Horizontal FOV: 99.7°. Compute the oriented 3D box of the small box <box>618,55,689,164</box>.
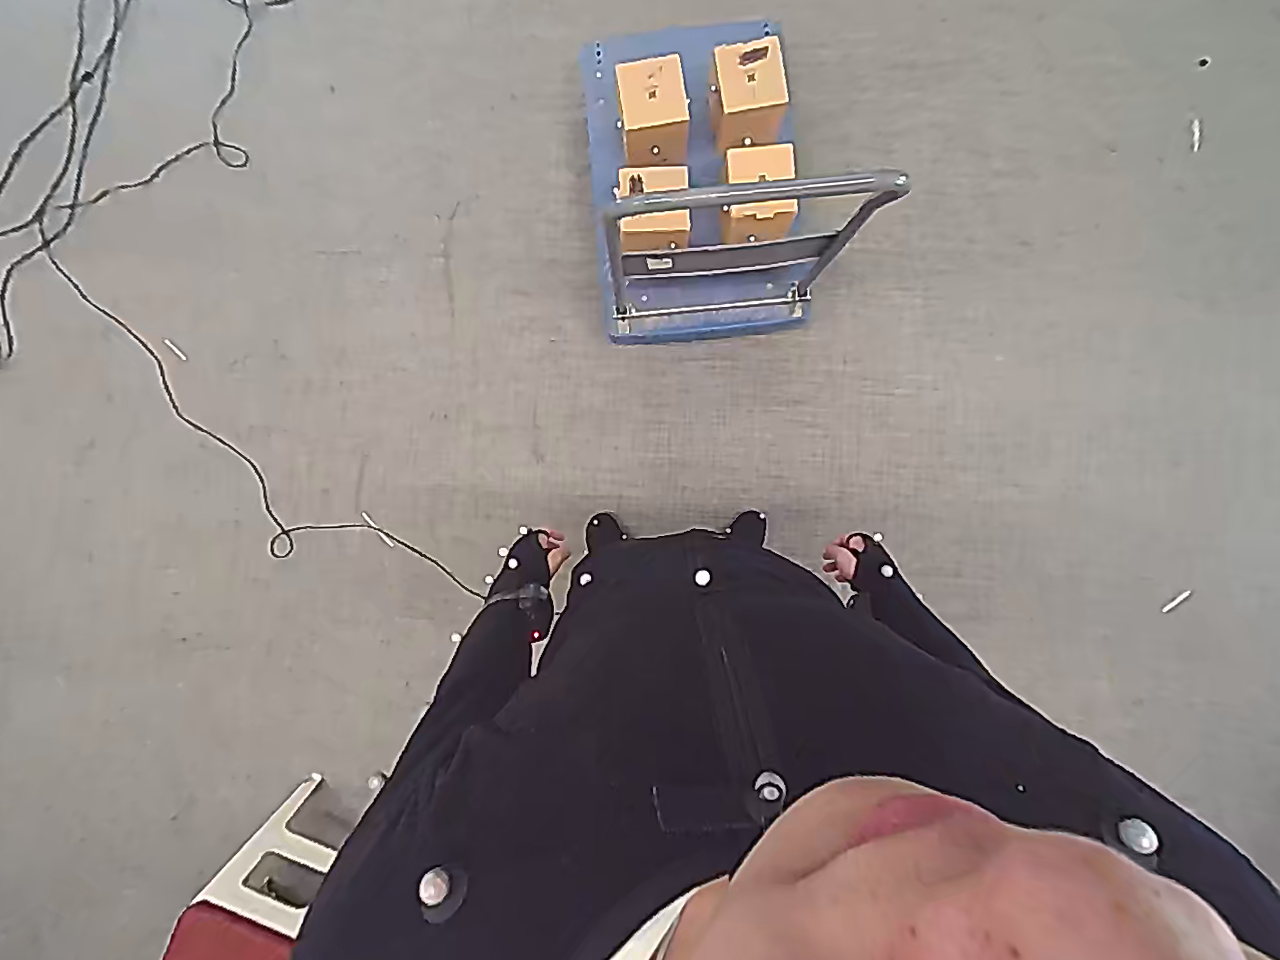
[{"bbox_3d":[0.037,-0.980,1.449,0.168,0.176,0.179,-9,87,1],"label":"small box"}]

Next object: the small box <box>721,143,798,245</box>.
[{"bbox_3d":[0.311,-0.751,1.432,0.168,0.176,0.179,-4,88,2],"label":"small box"}]

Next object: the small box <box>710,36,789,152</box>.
[{"bbox_3d":[0.285,-1.021,1.441,0.168,0.176,0.179,-9,88,3],"label":"small box"}]
